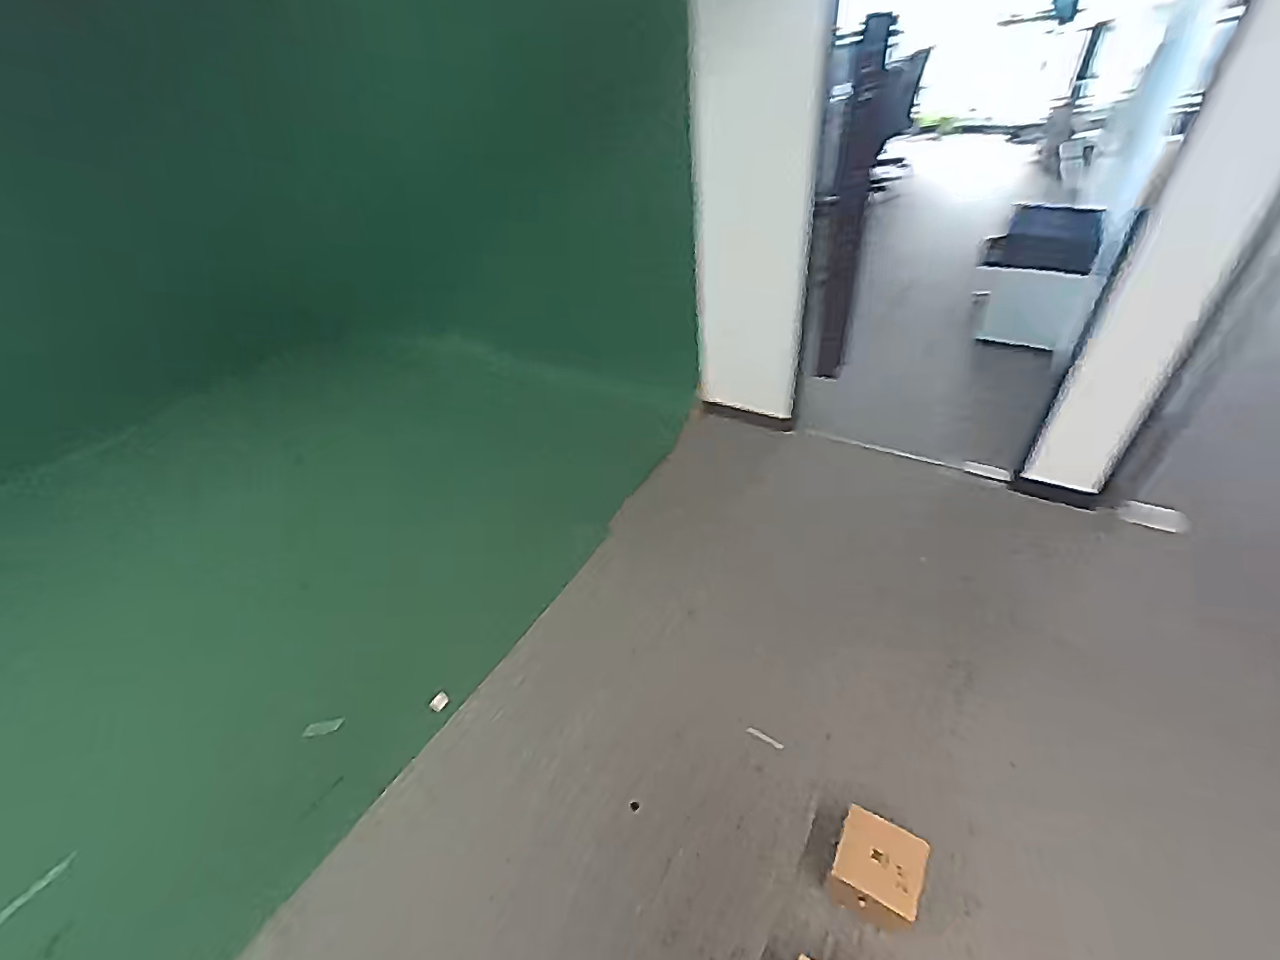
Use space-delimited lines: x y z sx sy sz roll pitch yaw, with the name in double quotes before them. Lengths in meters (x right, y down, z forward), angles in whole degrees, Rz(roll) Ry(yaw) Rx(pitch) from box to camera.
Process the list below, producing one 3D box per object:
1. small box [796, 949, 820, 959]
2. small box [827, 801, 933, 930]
"small box" 0.367 1.091 1.070 0.179 0.176 0.168 20 48 26
"small box" 0.550 0.898 1.257 0.179 0.176 0.168 20 48 27
